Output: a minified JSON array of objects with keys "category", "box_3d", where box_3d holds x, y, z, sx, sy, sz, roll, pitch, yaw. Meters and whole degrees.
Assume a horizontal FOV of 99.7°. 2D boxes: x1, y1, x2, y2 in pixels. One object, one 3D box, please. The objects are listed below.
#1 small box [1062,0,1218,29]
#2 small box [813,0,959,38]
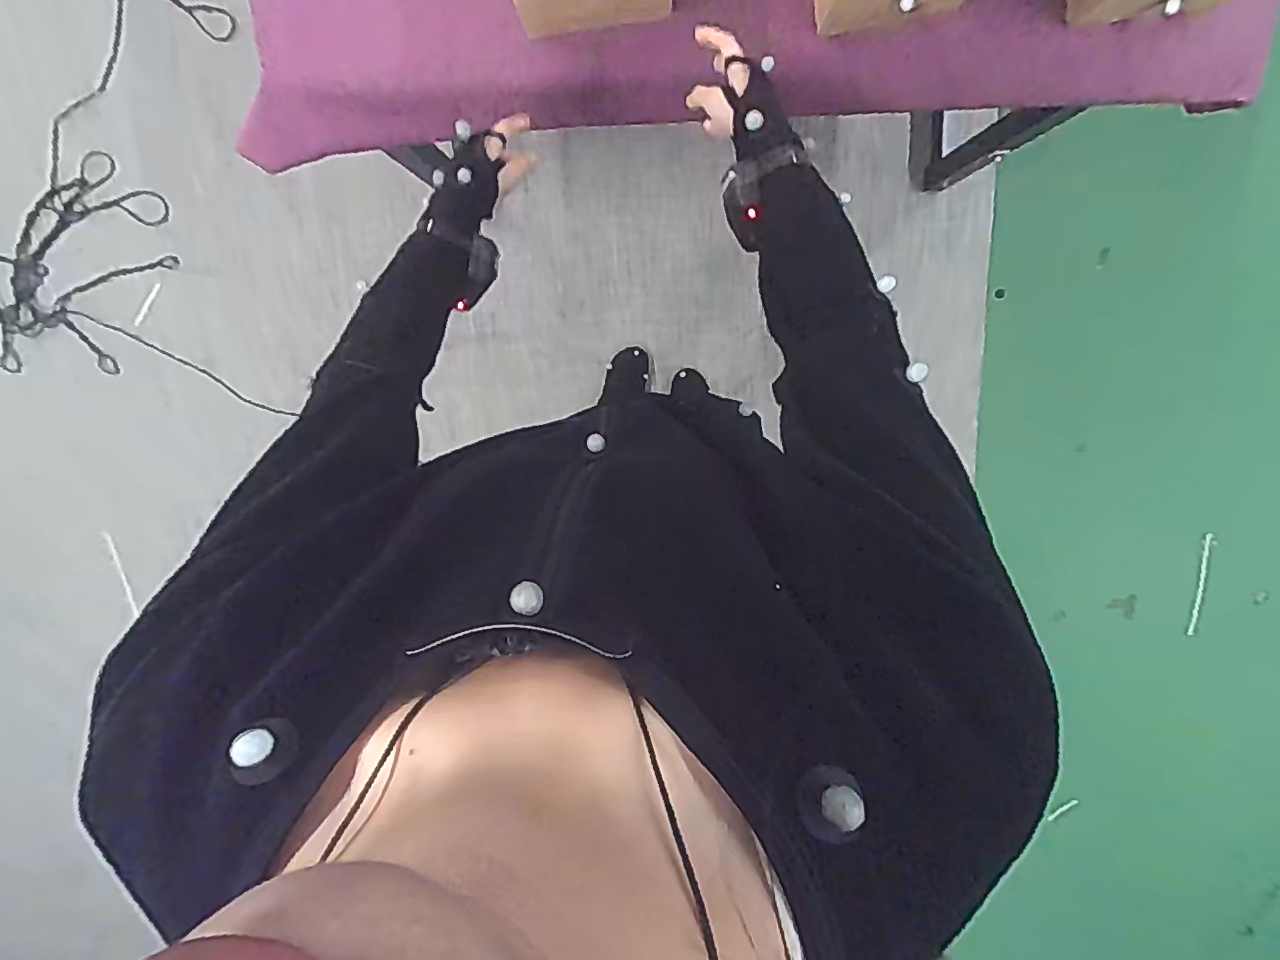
[{"category":"small box","box_3d":[0.571,-0.596,0.534,0.179,0.176,0.168,-6,102,4]},{"category":"small box","box_3d":[0.273,-0.603,0.544,0.168,0.176,0.179,-9,102,4]}]
